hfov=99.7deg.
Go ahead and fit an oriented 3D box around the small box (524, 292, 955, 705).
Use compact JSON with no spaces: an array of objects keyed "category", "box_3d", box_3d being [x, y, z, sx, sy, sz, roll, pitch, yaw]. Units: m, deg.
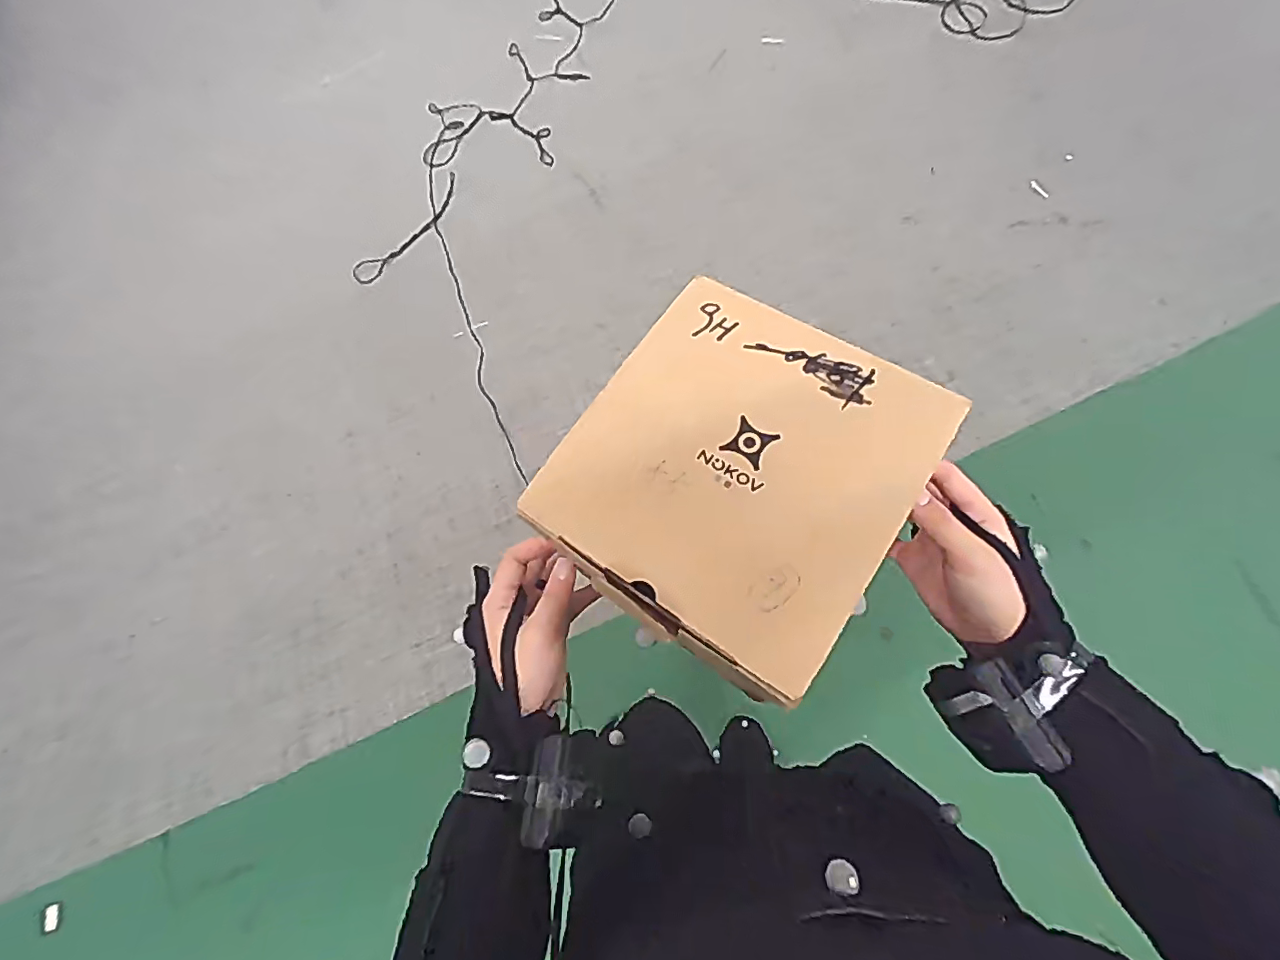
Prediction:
[{"category":"small box","box_3d":[0.061,0.022,0.358,0.168,0.176,0.179,33,77,18]}]
